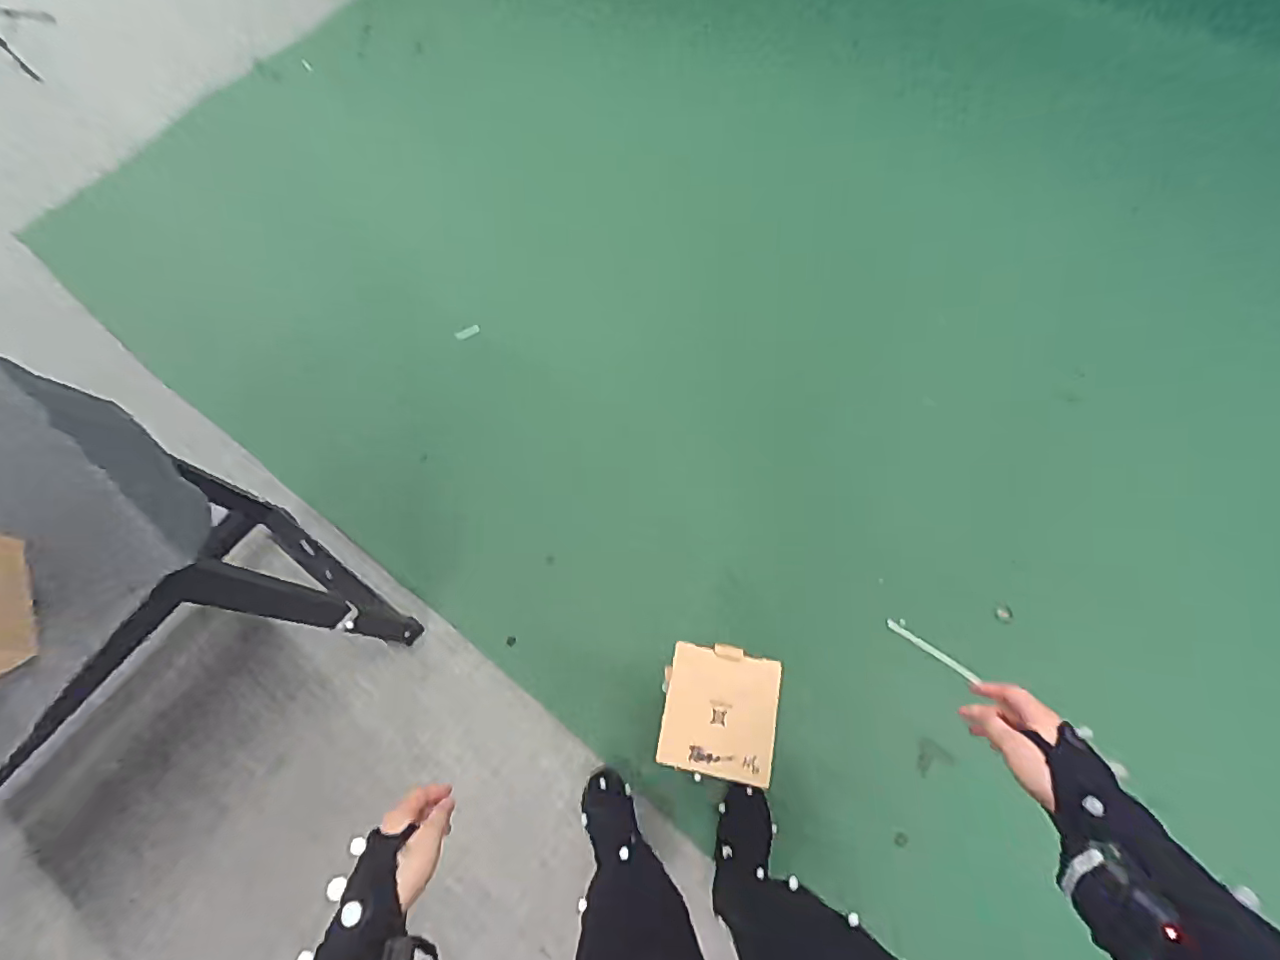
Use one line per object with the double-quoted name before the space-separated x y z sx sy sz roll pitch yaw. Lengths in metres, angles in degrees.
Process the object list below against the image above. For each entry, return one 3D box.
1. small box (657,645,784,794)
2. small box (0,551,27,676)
"small box" 0.126 0.378 0.870 0.168 0.176 0.179 9 69 9
"small box" -0.850 0.164 0.598 0.168 0.176 0.179 -32 67 -8
